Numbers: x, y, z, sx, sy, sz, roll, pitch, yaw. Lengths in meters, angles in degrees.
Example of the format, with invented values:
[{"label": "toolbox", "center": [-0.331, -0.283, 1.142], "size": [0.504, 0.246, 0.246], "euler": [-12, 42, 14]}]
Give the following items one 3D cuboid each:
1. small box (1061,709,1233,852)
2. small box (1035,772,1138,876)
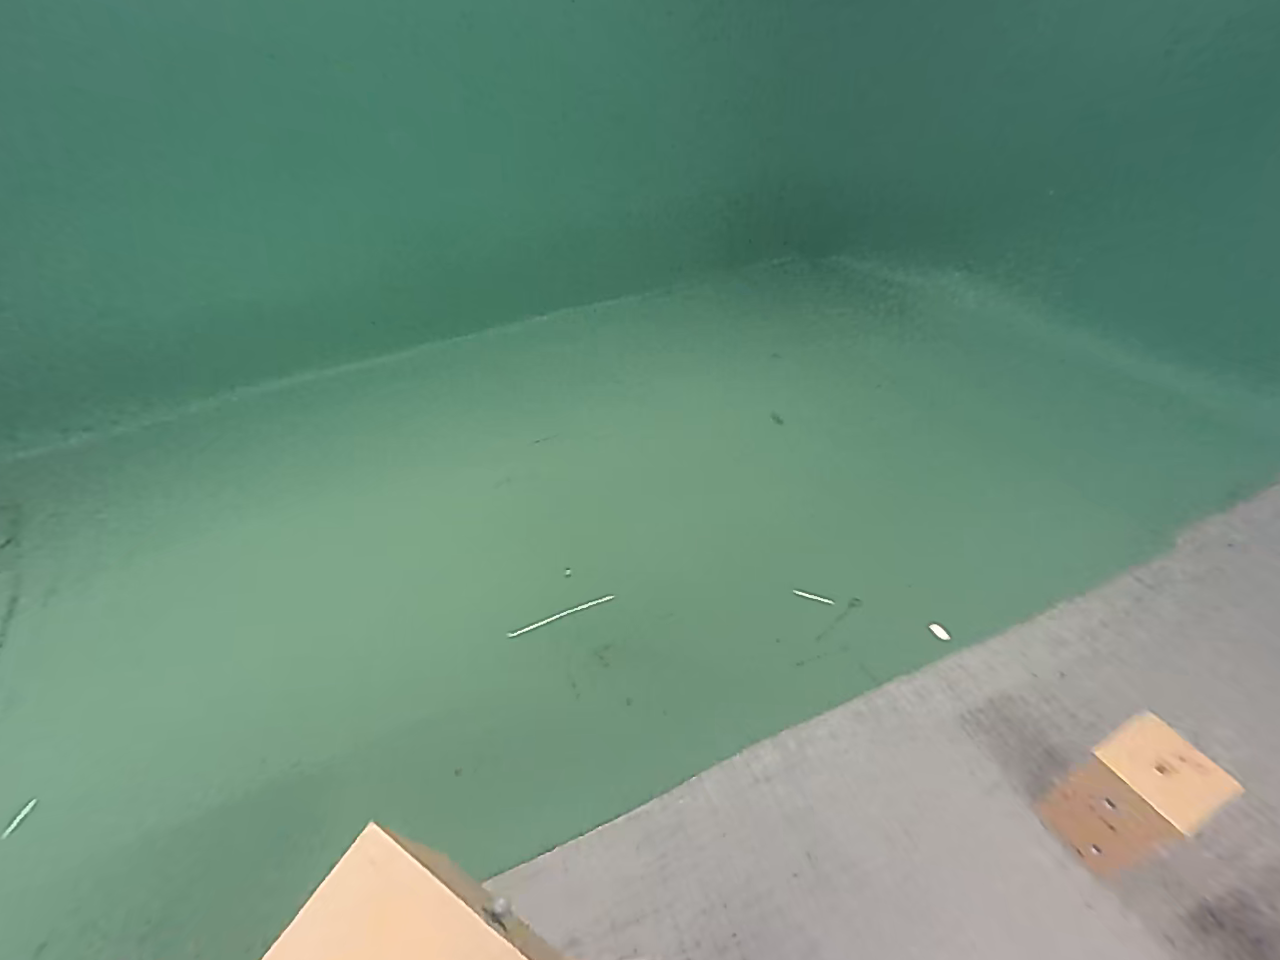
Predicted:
[{"label": "small box", "center": [0.998, 0.606, 1.087], "size": [0.179, 0.176, 0.168], "euler": [-21, 43, -14]}, {"label": "small box", "center": [1.019, 0.730, 1.193], "size": [0.179, 0.176, 0.168], "euler": [-20, 42, -14]}]
